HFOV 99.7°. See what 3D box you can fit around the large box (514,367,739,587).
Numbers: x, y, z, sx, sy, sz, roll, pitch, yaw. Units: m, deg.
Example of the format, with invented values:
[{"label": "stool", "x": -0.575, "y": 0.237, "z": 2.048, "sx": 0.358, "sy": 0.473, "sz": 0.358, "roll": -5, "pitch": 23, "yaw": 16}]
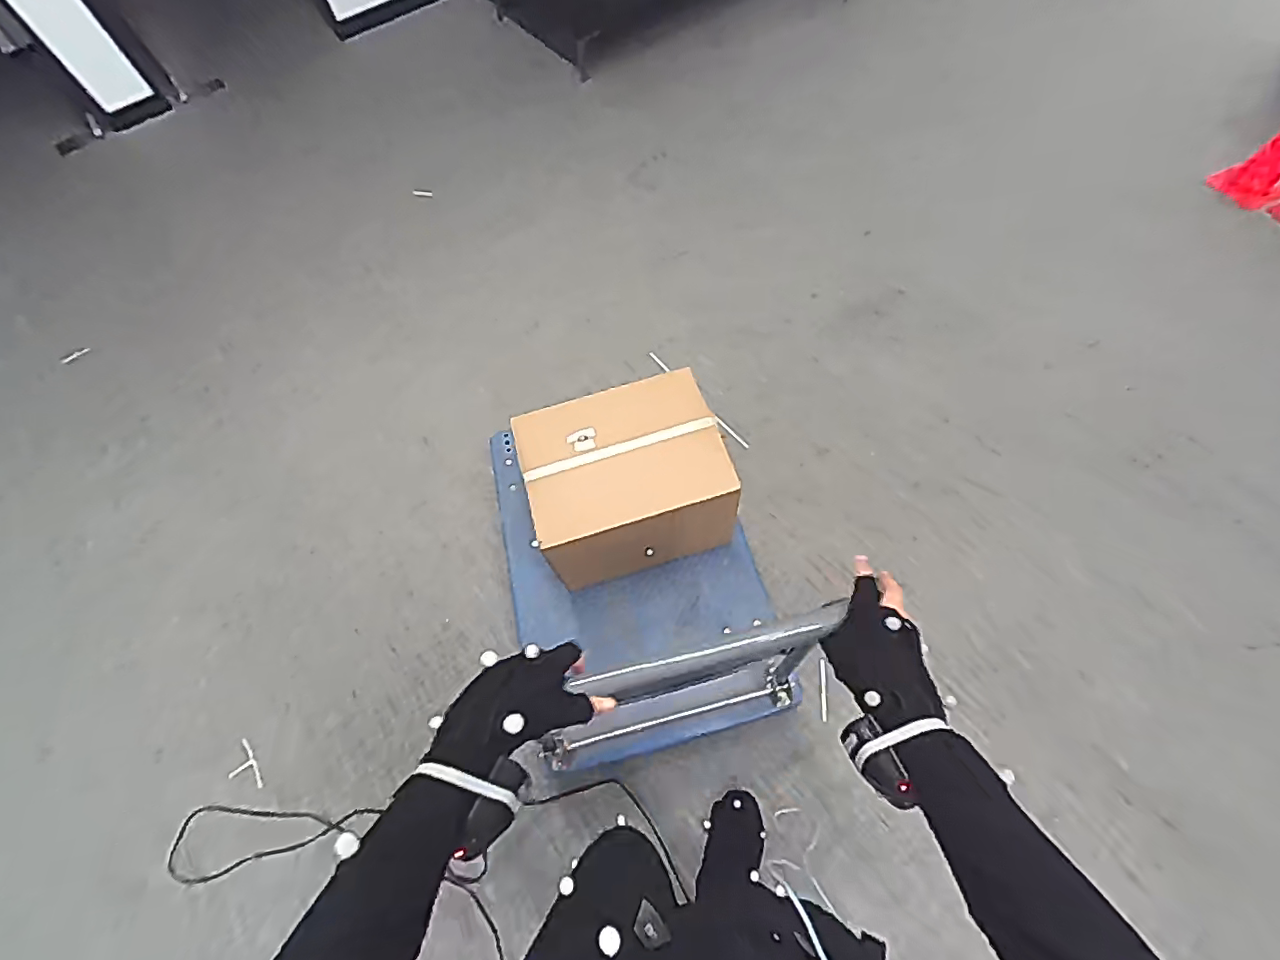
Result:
[{"label": "large box", "x": -0.024, "y": 0.008, "z": 1.232, "sx": 0.408, "sy": 0.320, "sz": 0.320, "roll": -18, "pitch": 63, "yaw": -3}]
